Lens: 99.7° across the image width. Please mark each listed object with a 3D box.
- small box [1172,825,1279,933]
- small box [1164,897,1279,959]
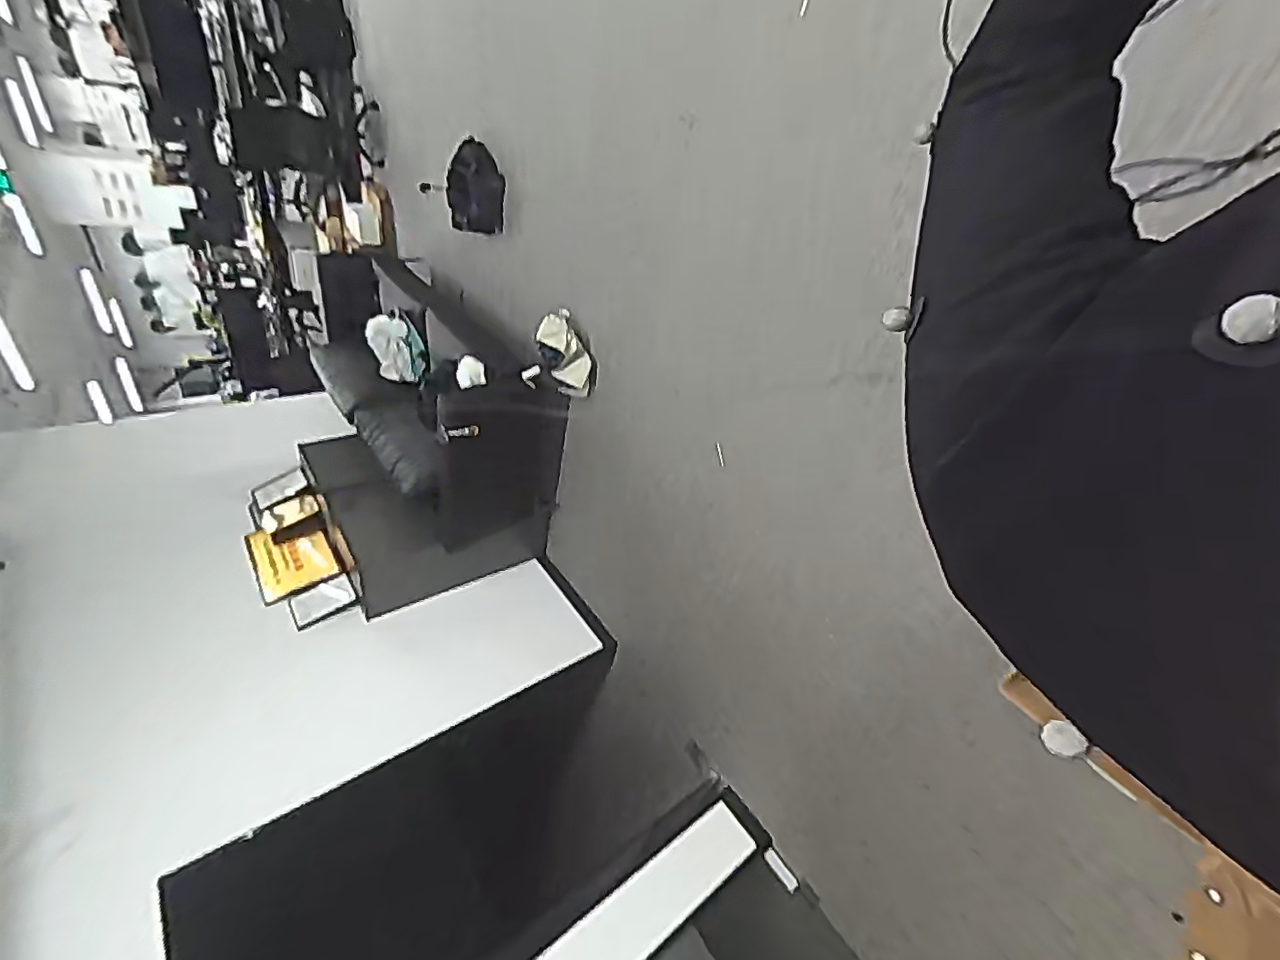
[{"bbox_3d":[0.952,0.657,0.794,0.168,0.176,0.179,41,135,38],"label":"small box"},{"bbox_3d":[0.823,0.700,0.704,0.168,0.176,0.179,42,134,38],"label":"small box"}]
